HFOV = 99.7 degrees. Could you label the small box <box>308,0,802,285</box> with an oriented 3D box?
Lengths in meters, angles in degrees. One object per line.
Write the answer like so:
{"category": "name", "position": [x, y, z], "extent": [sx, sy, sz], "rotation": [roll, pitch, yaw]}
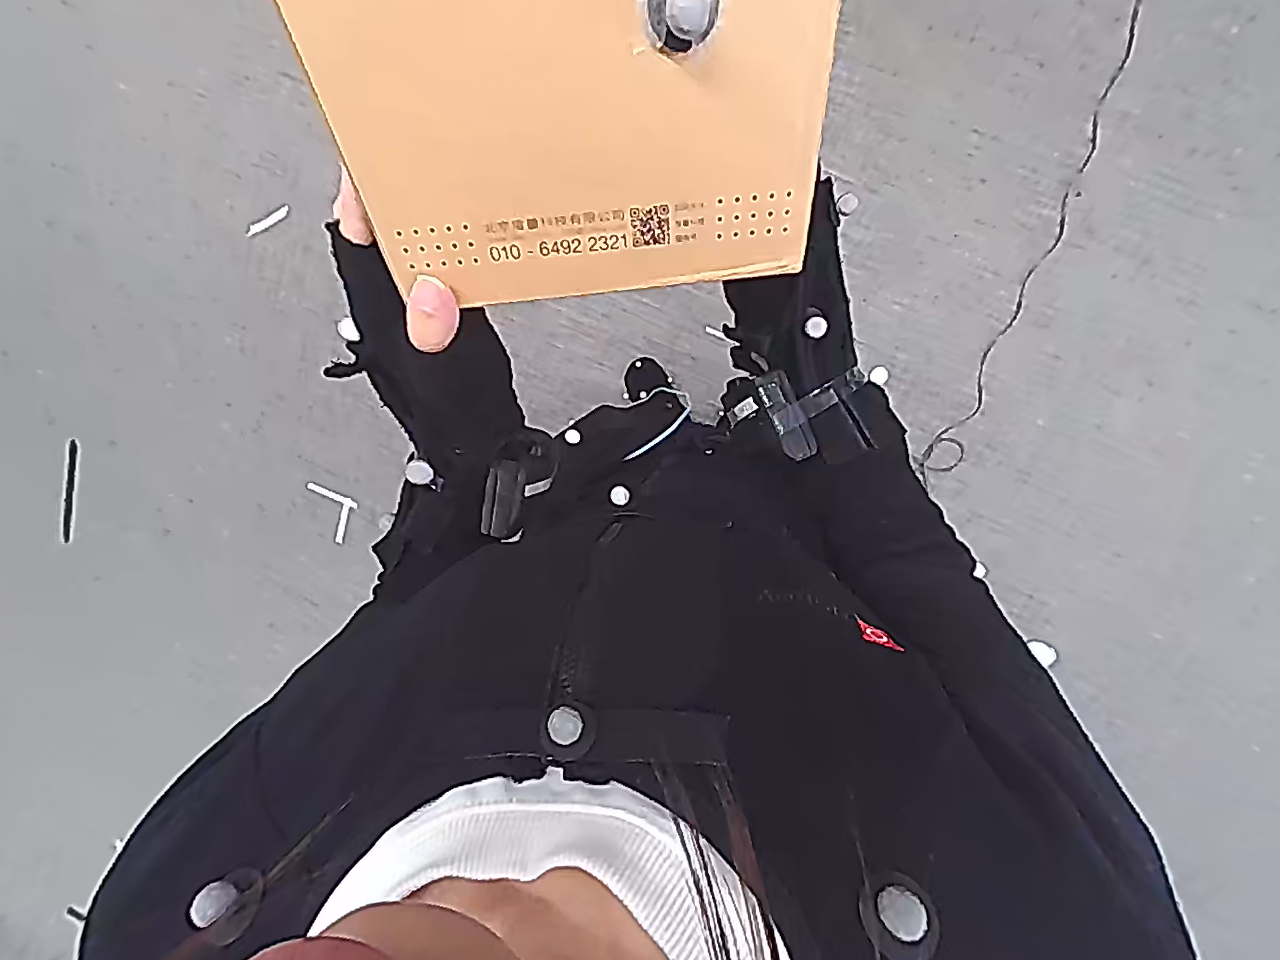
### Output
{"category": "small box", "position": [-0.027, -0.201, 0.243], "extent": [0.168, 0.179, 0.176], "rotation": [-5, 137, 1]}
